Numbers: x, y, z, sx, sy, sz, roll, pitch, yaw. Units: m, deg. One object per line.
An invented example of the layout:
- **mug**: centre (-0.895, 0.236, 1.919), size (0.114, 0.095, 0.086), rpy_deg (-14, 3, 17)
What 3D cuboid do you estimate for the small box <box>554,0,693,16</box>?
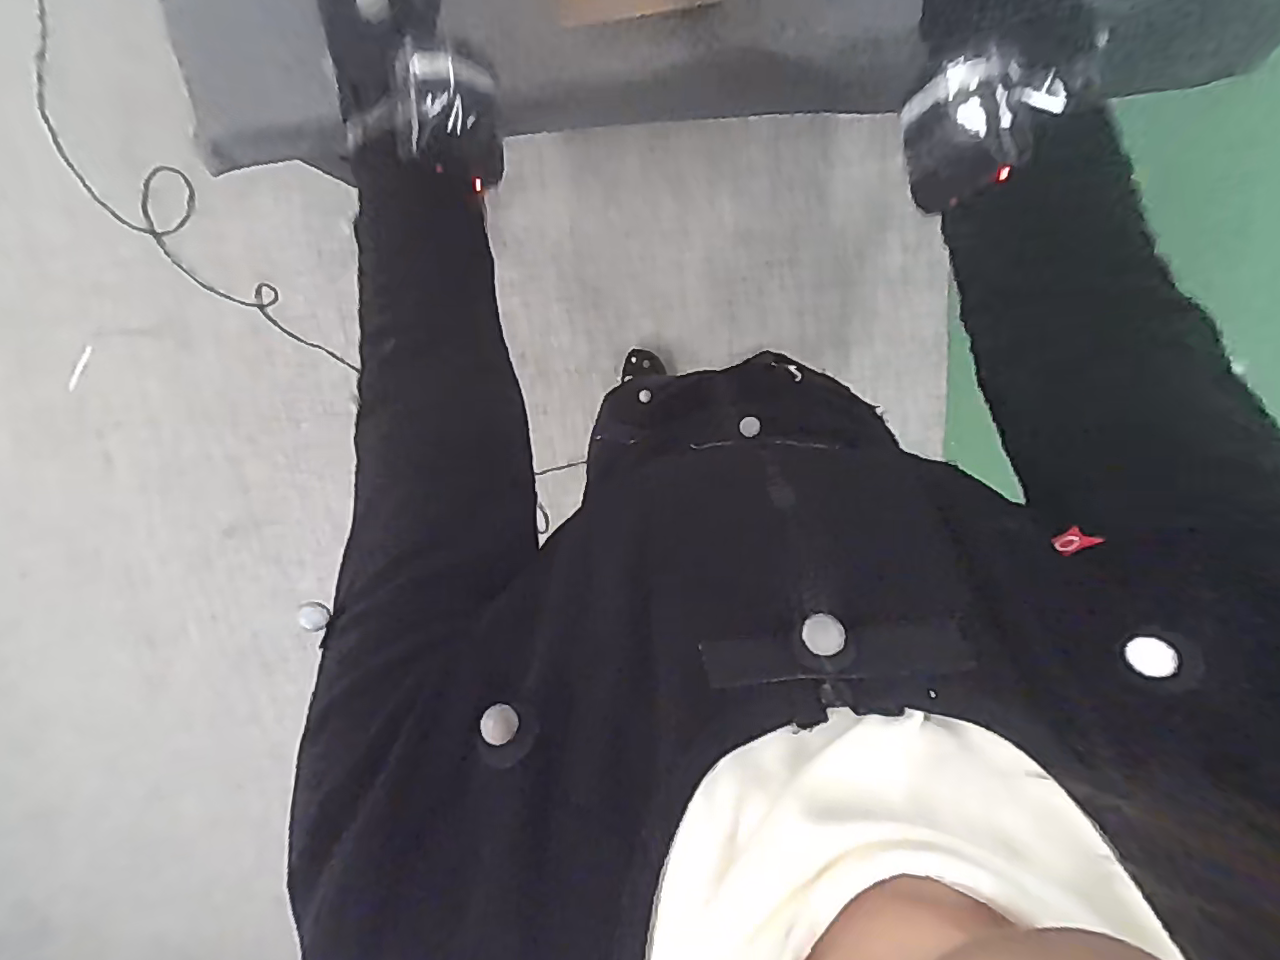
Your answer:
- **small box**: centre (-0.014, -0.552, 0.472), size (0.179, 0.176, 0.168), rpy_deg (-6, 103, 3)
